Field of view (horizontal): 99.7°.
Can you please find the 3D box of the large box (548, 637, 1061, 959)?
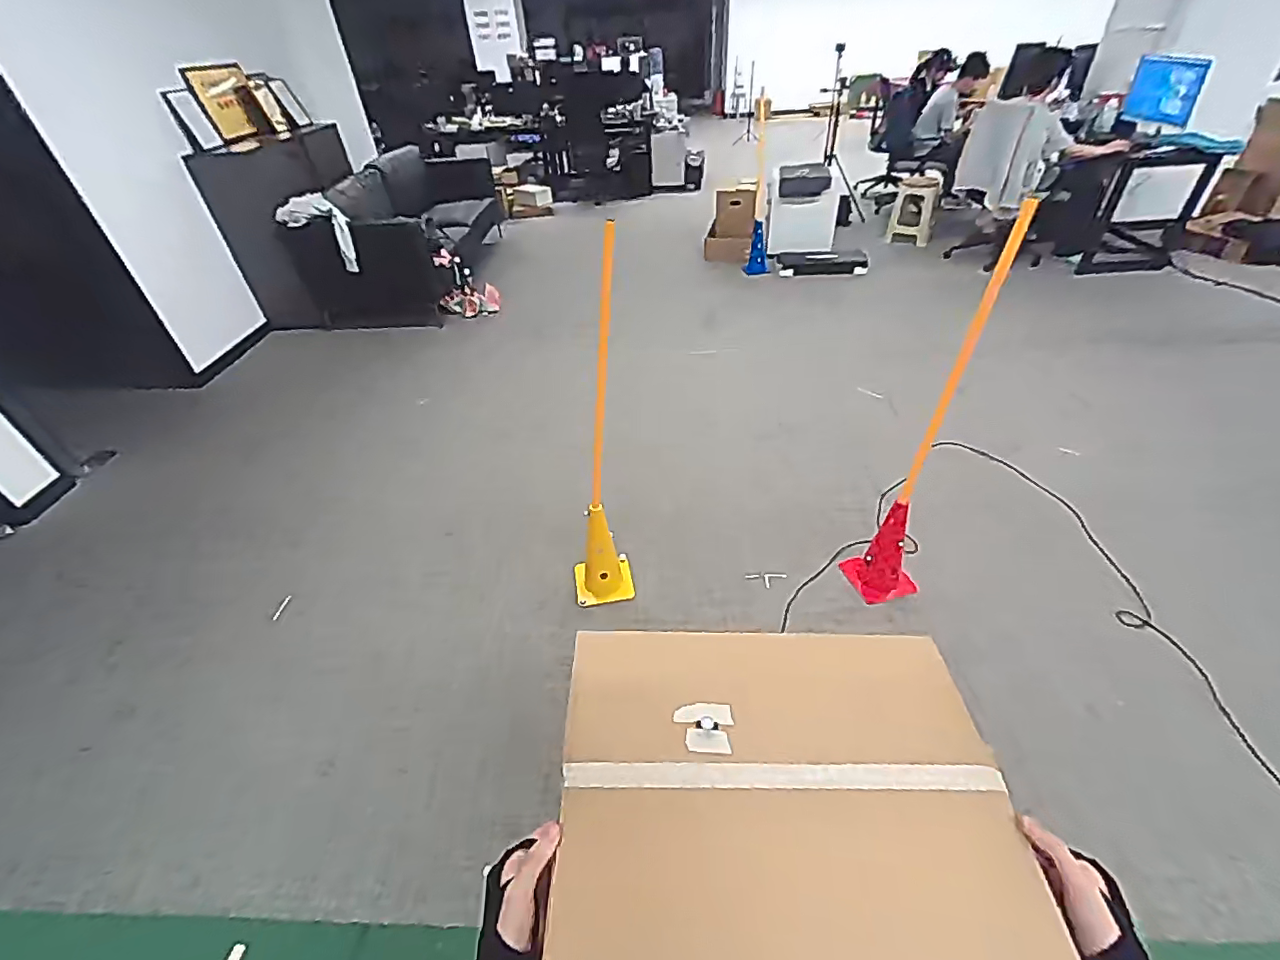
[{"bbox_3d":[0.128,0.394,0.609,0.408,0.320,0.320,0,41,0],"label":"large box"}]
